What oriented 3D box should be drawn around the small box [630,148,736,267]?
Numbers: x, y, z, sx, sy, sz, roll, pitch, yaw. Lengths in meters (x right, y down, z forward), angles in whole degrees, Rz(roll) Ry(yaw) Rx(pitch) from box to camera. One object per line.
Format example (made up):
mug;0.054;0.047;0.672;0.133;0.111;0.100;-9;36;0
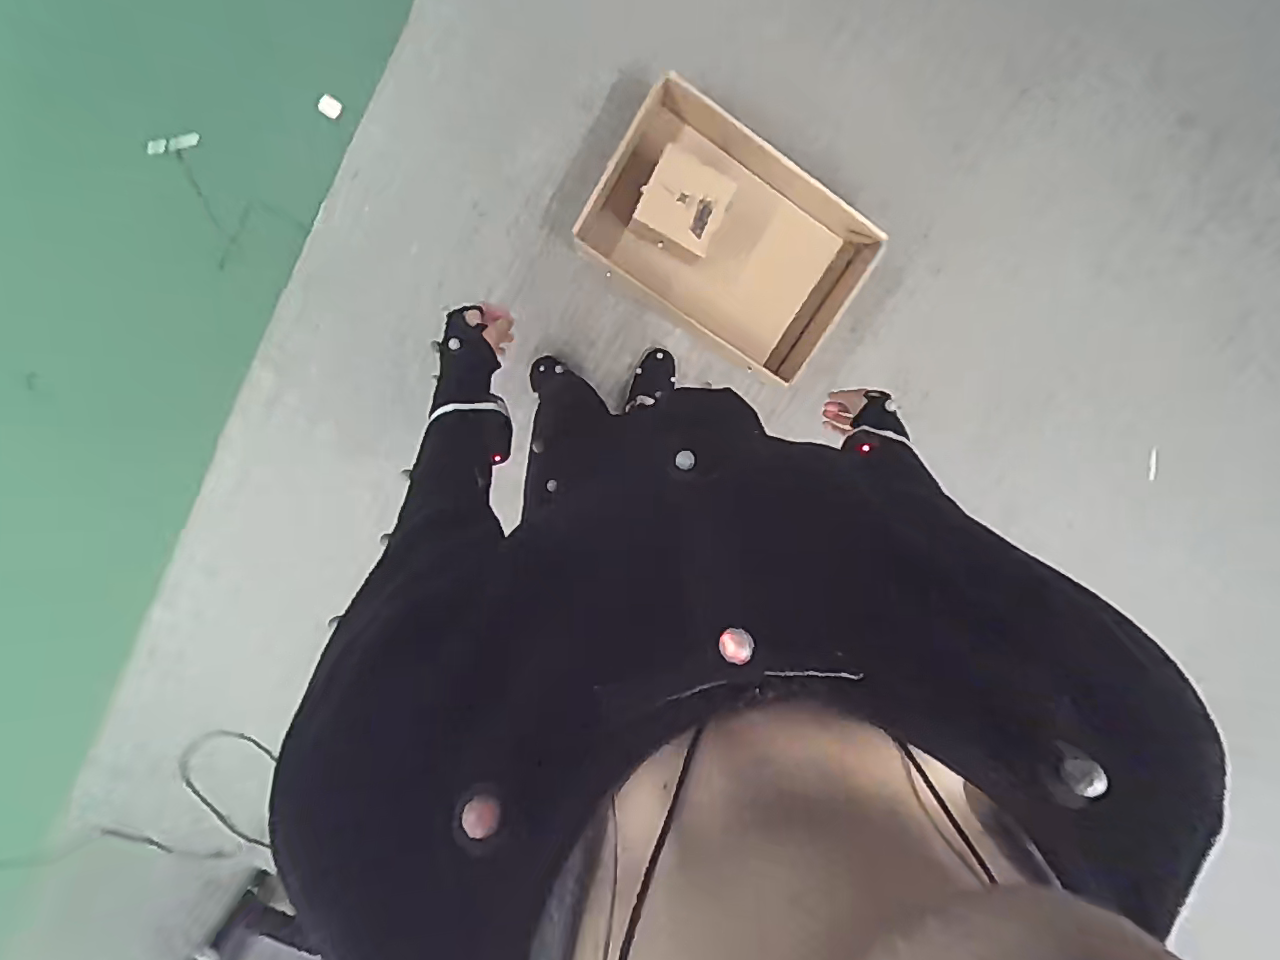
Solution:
small box;0.092;-0.605;1.230;0.179;0.176;0.168;29;101;-5
